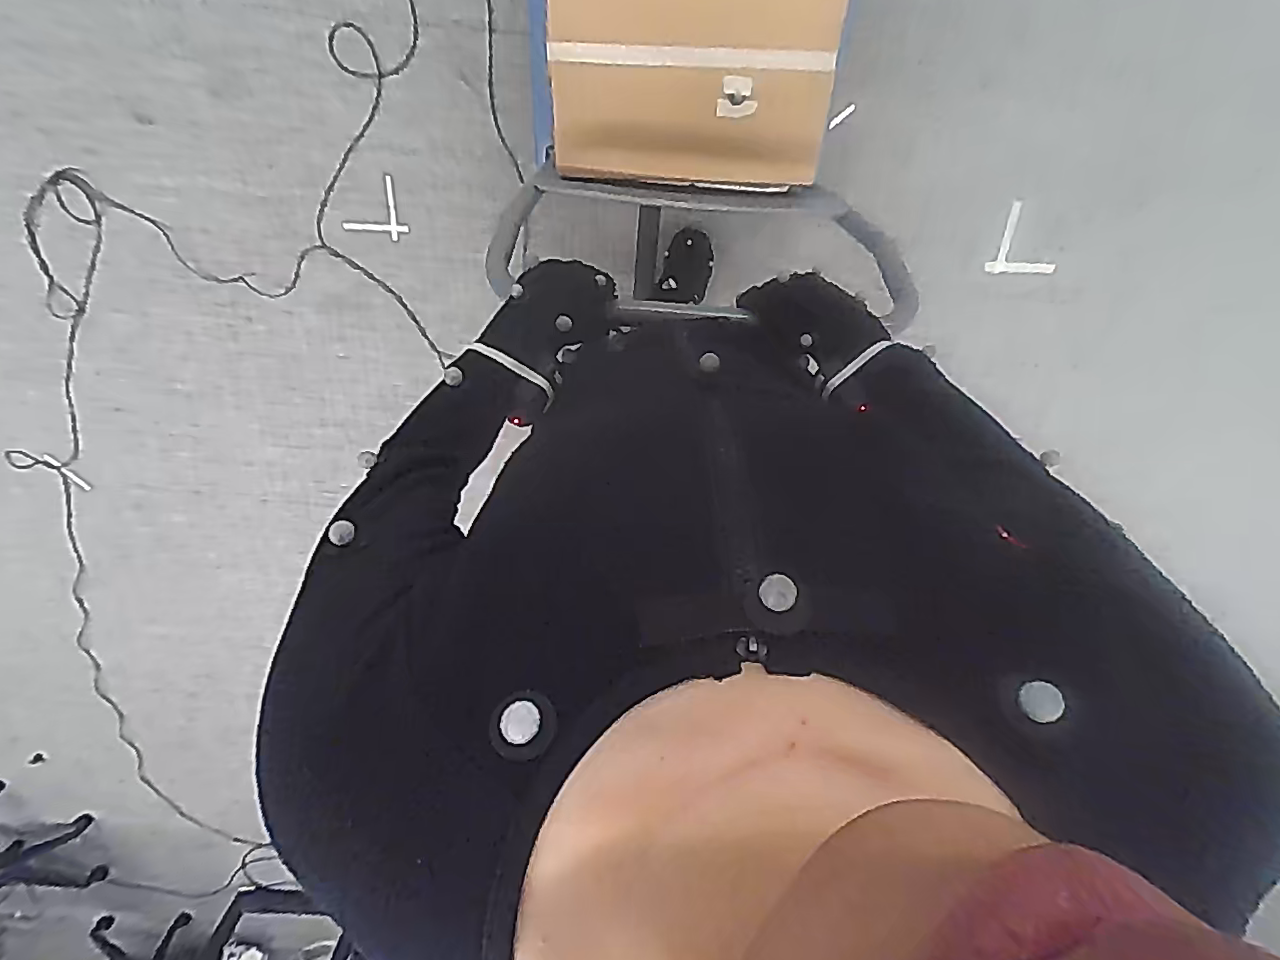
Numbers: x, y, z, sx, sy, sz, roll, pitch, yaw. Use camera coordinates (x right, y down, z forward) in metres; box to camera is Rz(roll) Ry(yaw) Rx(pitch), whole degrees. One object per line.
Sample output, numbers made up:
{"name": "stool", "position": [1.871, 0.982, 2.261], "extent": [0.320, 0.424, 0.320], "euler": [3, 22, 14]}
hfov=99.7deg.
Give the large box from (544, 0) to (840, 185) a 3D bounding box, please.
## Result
{"name": "large box", "position": [0.065, -0.676, 0.877], "extent": [0.408, 0.320, 0.320], "euler": [1, 126, -2]}
